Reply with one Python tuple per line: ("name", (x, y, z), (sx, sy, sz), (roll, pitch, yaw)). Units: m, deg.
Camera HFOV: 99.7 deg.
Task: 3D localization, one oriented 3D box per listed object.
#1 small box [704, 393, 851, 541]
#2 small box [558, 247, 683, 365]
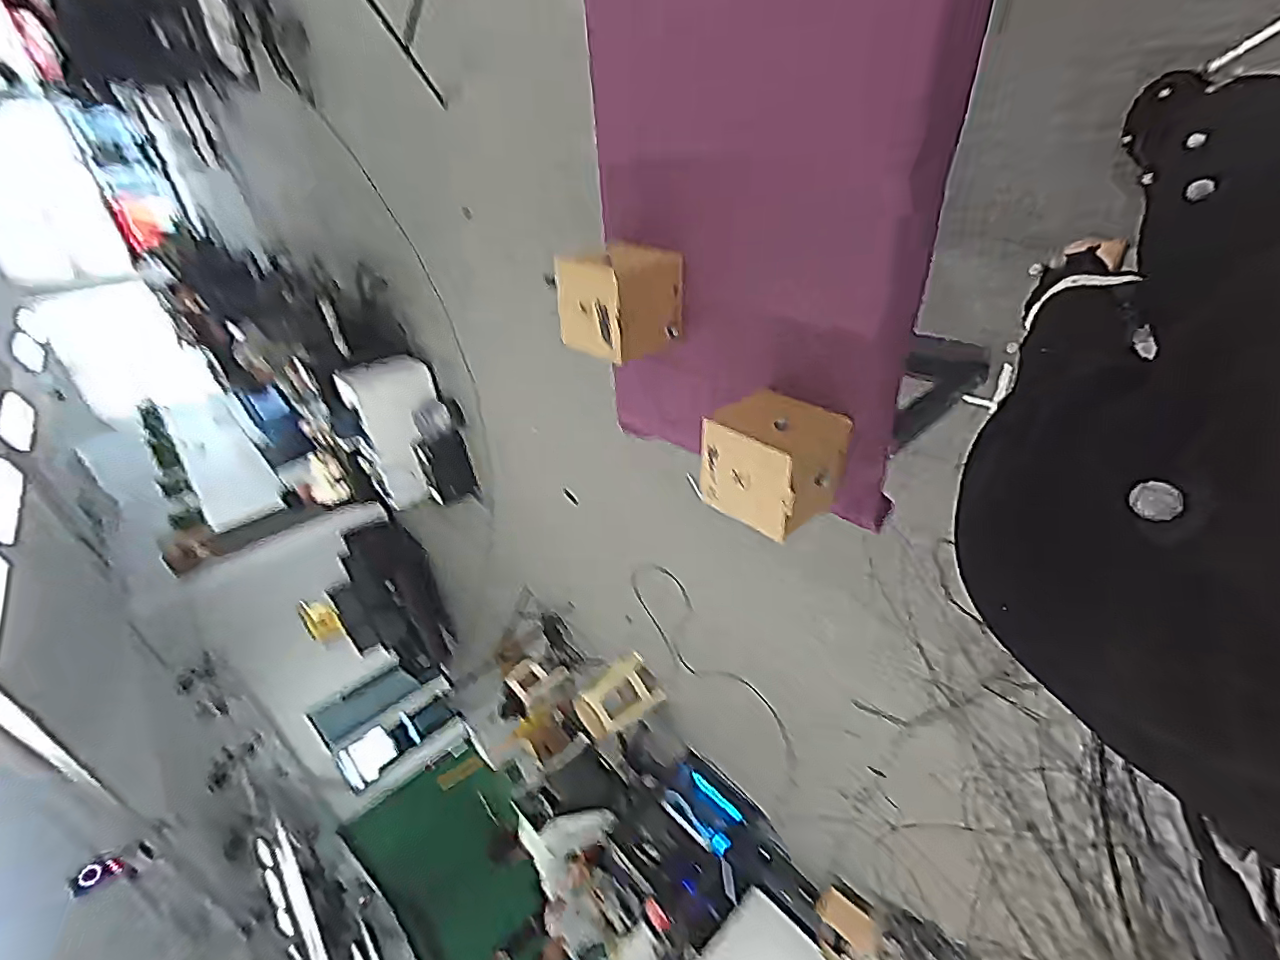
("small box", (0.231, -0.033, 0.919), (0.179, 0.176, 0.168), (29, 134, 38))
("small box", (-0.031, -0.343, 1.041), (0.179, 0.176, 0.168), (30, 135, 37))
